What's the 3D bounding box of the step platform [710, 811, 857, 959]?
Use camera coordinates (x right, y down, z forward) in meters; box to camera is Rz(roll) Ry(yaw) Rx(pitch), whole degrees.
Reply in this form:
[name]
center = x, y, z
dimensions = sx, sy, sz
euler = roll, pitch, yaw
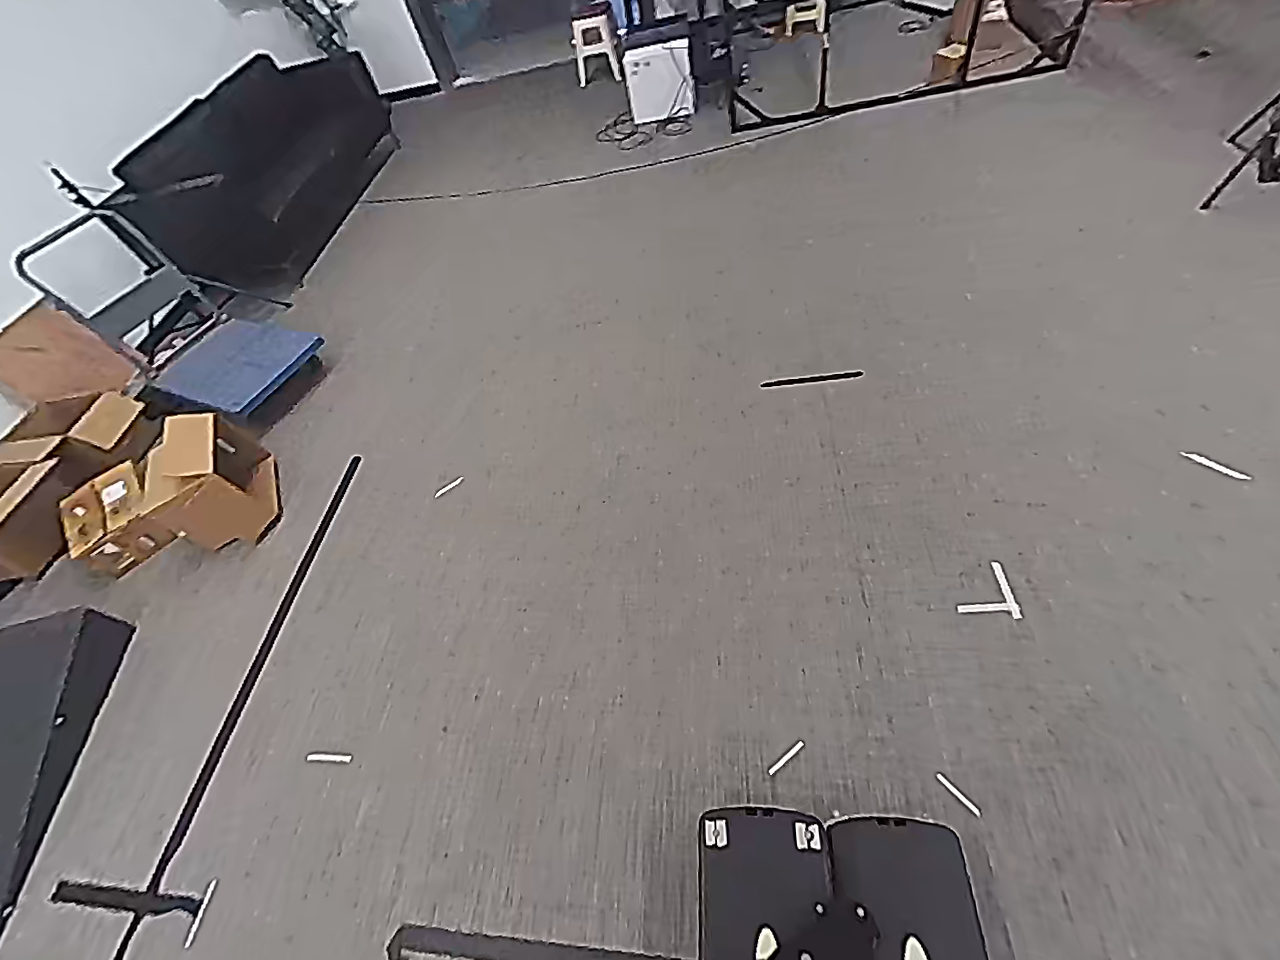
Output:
[step platform]
center = 0.289, 1.051, 1.064
dimensions = 0.286, 0.204, 0.684
euler = -4, 52, 10
